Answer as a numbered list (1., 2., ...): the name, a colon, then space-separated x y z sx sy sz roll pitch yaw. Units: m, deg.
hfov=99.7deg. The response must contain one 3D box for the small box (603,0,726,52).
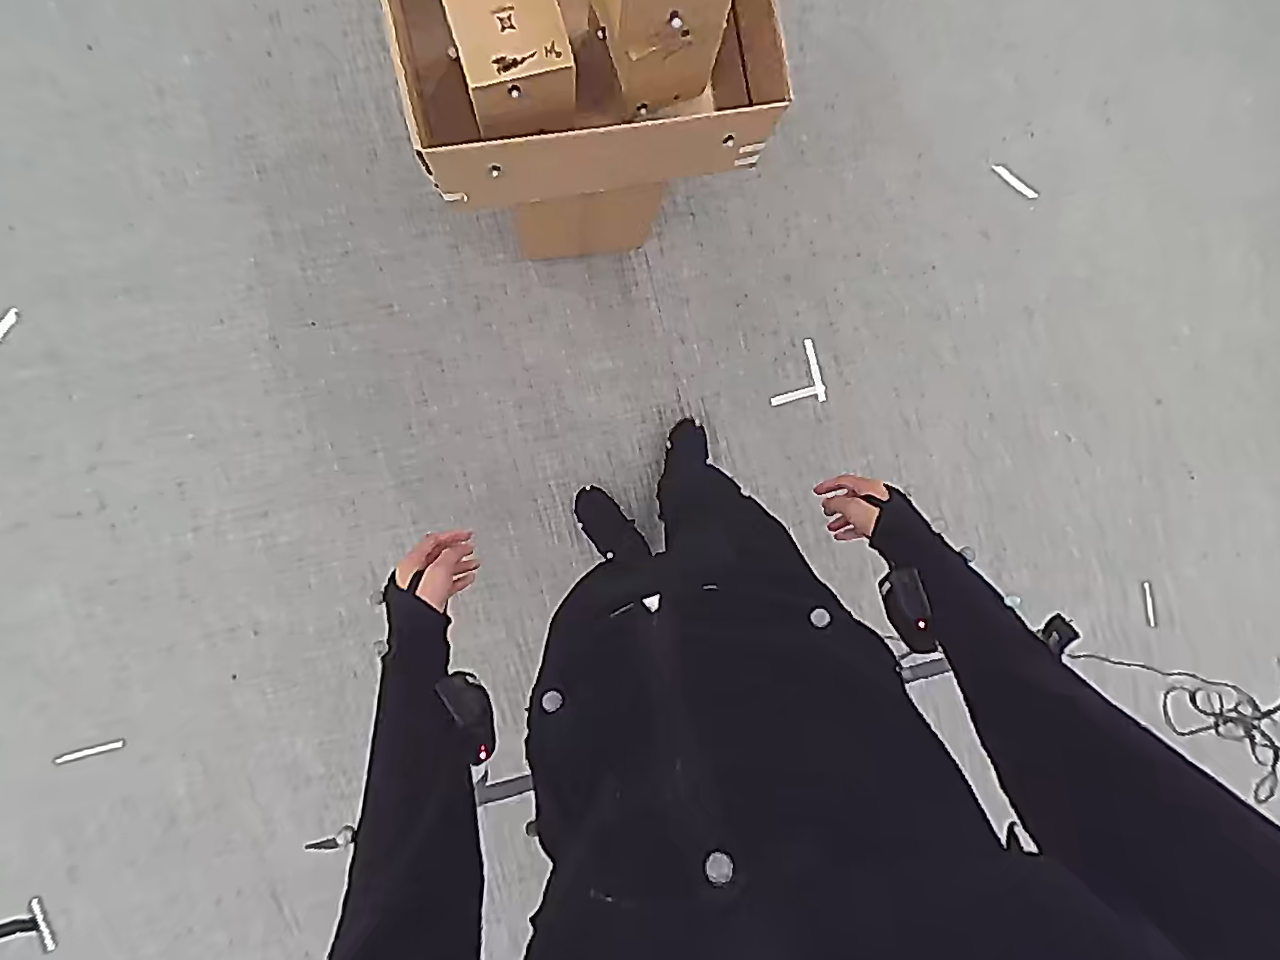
1. small box: 0.028 -0.744 0.740 0.168 0.176 0.179 -13 95 -4

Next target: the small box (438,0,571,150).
1. small box: -0.215 -0.682 0.878 0.168 0.176 0.179 -18 94 -5
